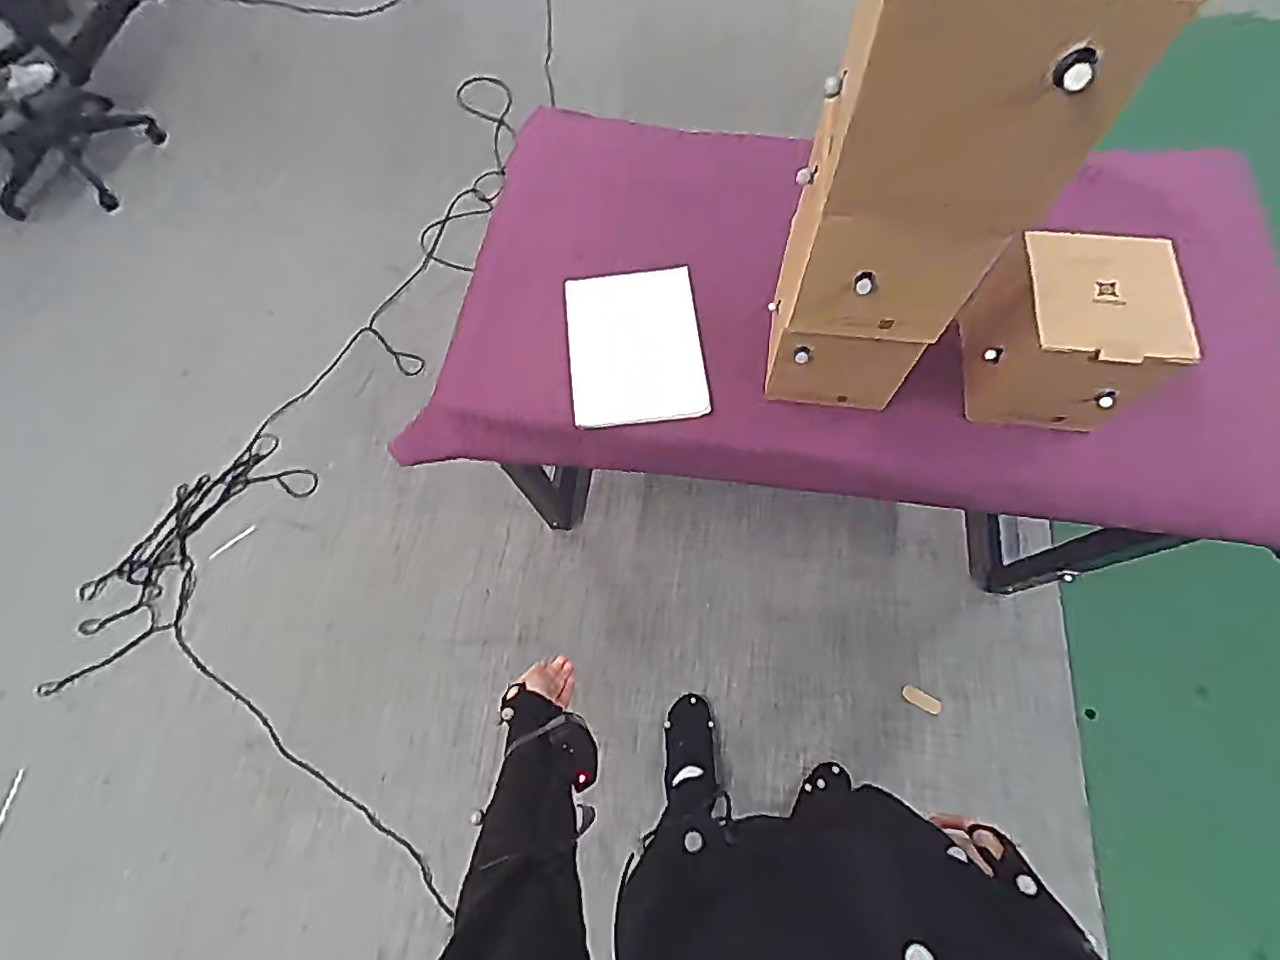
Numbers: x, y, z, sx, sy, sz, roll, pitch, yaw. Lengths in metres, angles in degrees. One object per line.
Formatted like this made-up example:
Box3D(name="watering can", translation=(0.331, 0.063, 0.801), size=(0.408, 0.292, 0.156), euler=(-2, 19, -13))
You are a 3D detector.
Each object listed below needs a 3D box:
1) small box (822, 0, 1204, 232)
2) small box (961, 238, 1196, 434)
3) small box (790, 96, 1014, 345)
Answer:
Box3D(name="small box", translation=(0.256, -0.320, 0.418), size=(0.179, 0.176, 0.168), euler=(10, 68, 8))
Box3D(name="small box", translation=(0.538, -0.176, 0.695), size=(0.168, 0.176, 0.179), euler=(8, 68, 7))
Box3D(name="small box", translation=(0.260, -0.265, 0.574), size=(0.168, 0.176, 0.179), euler=(8, 68, 7))
